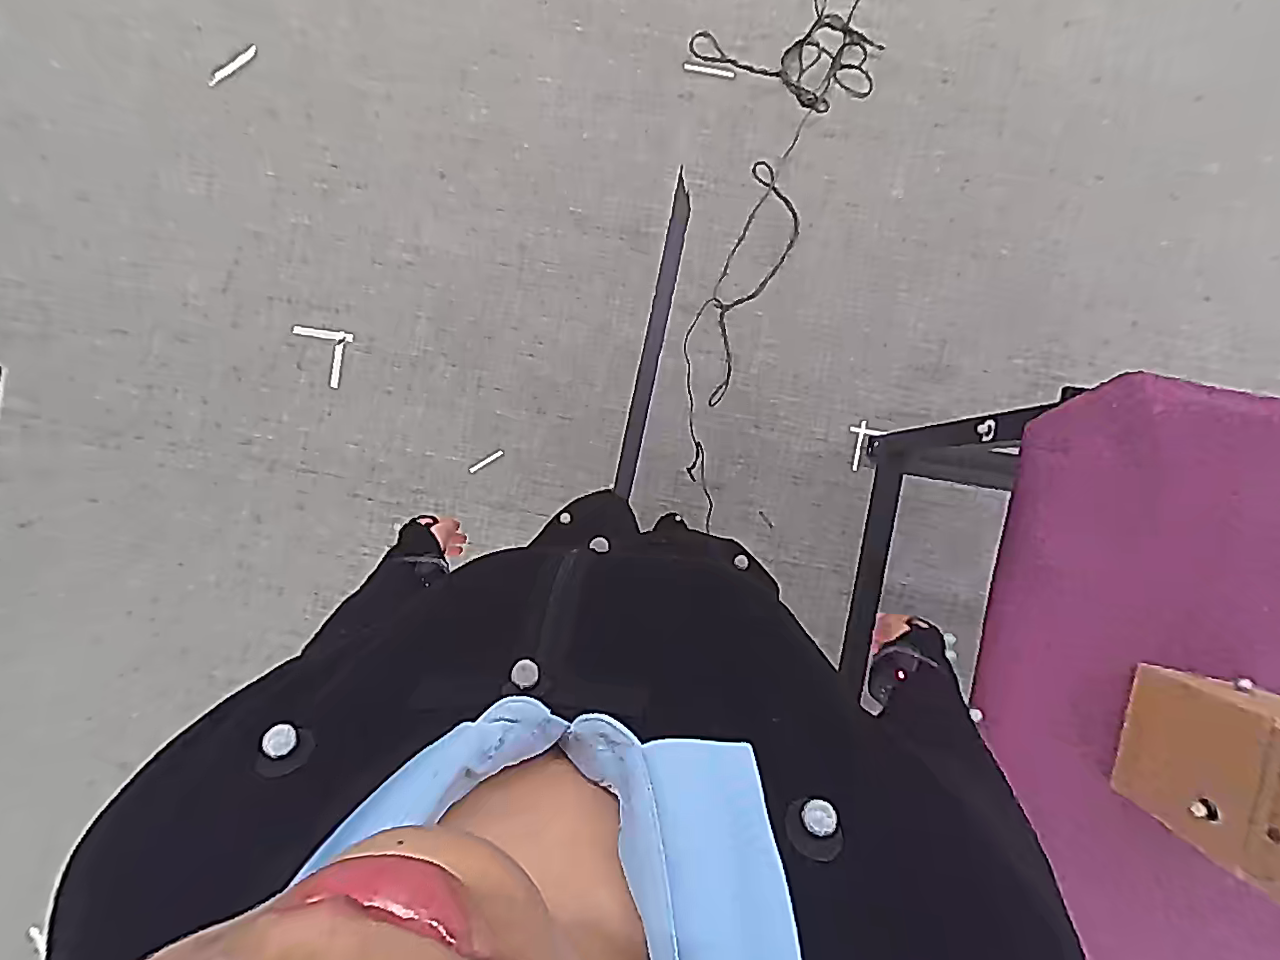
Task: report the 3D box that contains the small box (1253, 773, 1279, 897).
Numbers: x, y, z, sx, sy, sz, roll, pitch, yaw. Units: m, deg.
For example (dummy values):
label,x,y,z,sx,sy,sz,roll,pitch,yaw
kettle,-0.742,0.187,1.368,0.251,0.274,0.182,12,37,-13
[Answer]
label,x,y,z,sx,sy,sz,roll,pitch,yaw
small box,0.728,0.356,0.481,0.179,0.176,0.168,10,92,1

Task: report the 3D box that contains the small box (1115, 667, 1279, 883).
label,x,y,z,sx,sy,sz,roll,pitch,yaw
small box,0.727,0.351,0.645,0.168,0.176,0.179,12,91,2
